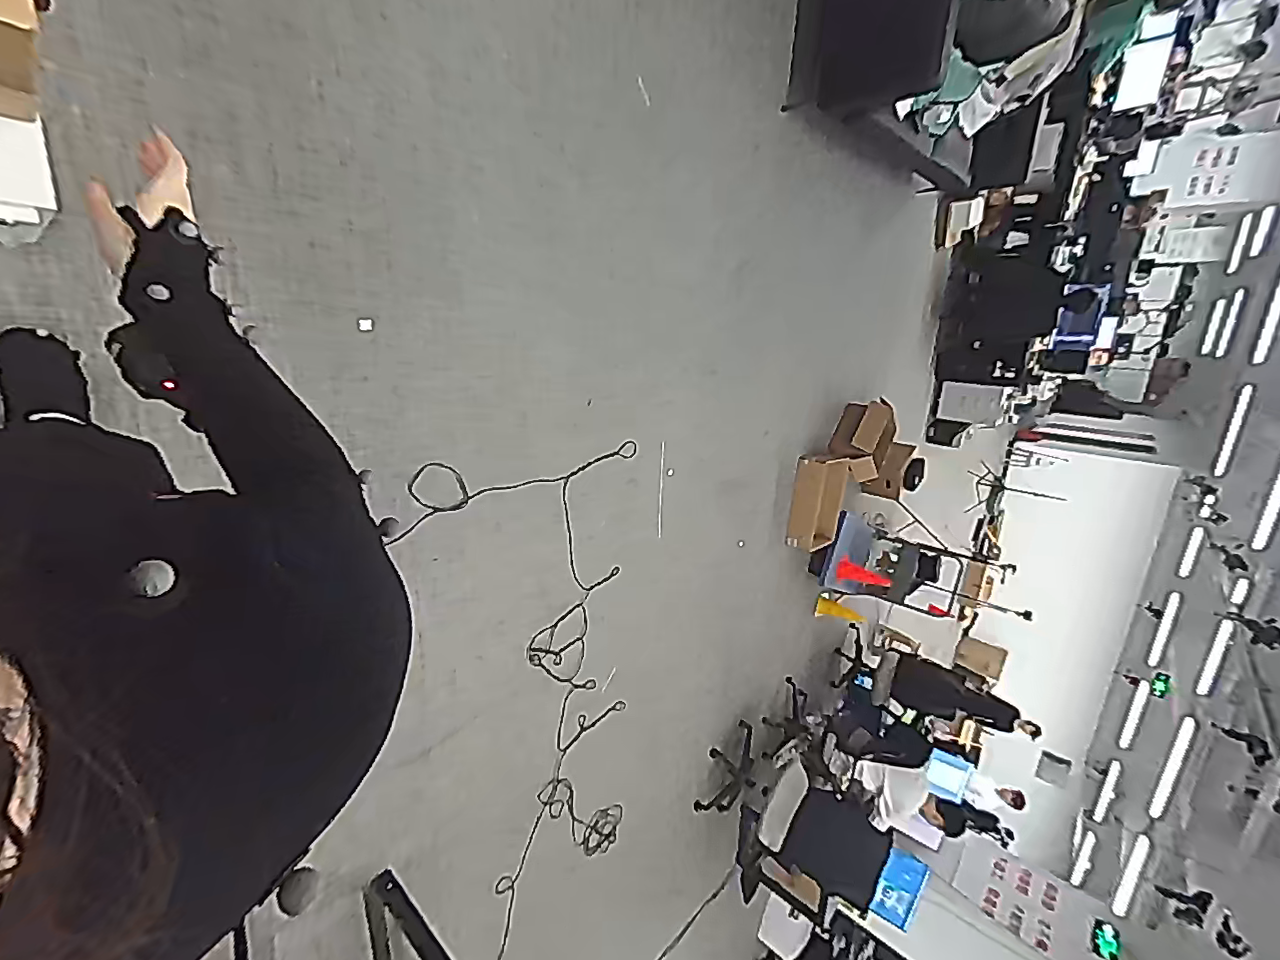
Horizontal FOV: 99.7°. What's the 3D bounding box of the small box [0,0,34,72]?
[{"bbox_3d":[-0.509,-0.389,0.328,0.179,0.176,0.168,-9,110,-47],"label":"small box"}]
